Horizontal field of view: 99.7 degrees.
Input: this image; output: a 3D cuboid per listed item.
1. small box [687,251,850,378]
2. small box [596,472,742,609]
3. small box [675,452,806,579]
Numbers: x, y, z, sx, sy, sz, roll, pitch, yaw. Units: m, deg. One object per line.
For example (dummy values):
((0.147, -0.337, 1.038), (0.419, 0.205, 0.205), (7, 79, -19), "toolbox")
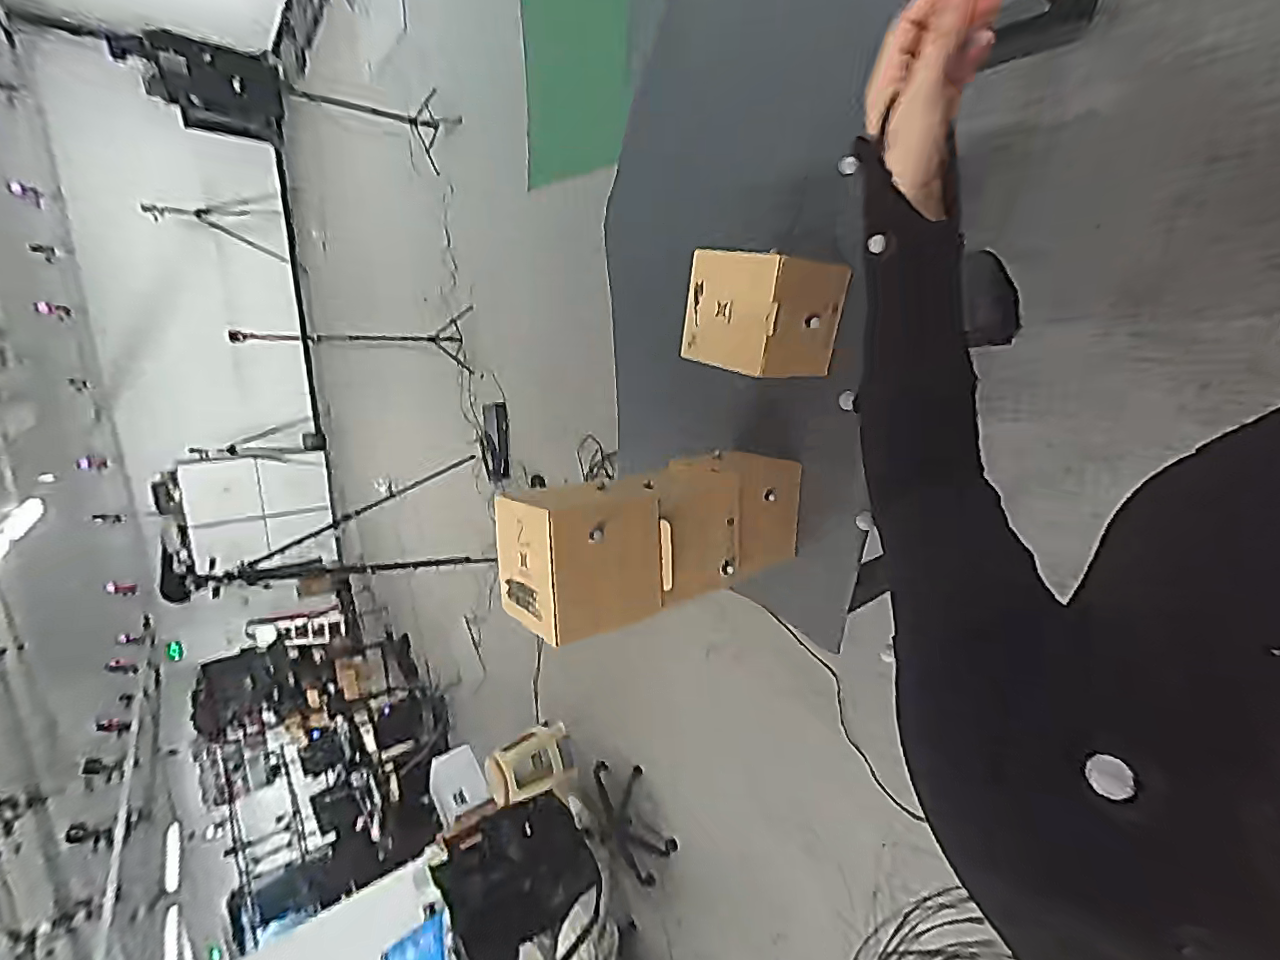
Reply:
((0.200, -0.263, 0.852), (0.179, 0.176, 0.168), (29, 121, 45), "small box")
((0.049, 0.083, 0.864), (0.179, 0.176, 0.168), (10, 106, 53), "small box")
((0.177, 0.050, 0.961), (0.168, 0.176, 0.179), (16, 112, 51), "small box")
